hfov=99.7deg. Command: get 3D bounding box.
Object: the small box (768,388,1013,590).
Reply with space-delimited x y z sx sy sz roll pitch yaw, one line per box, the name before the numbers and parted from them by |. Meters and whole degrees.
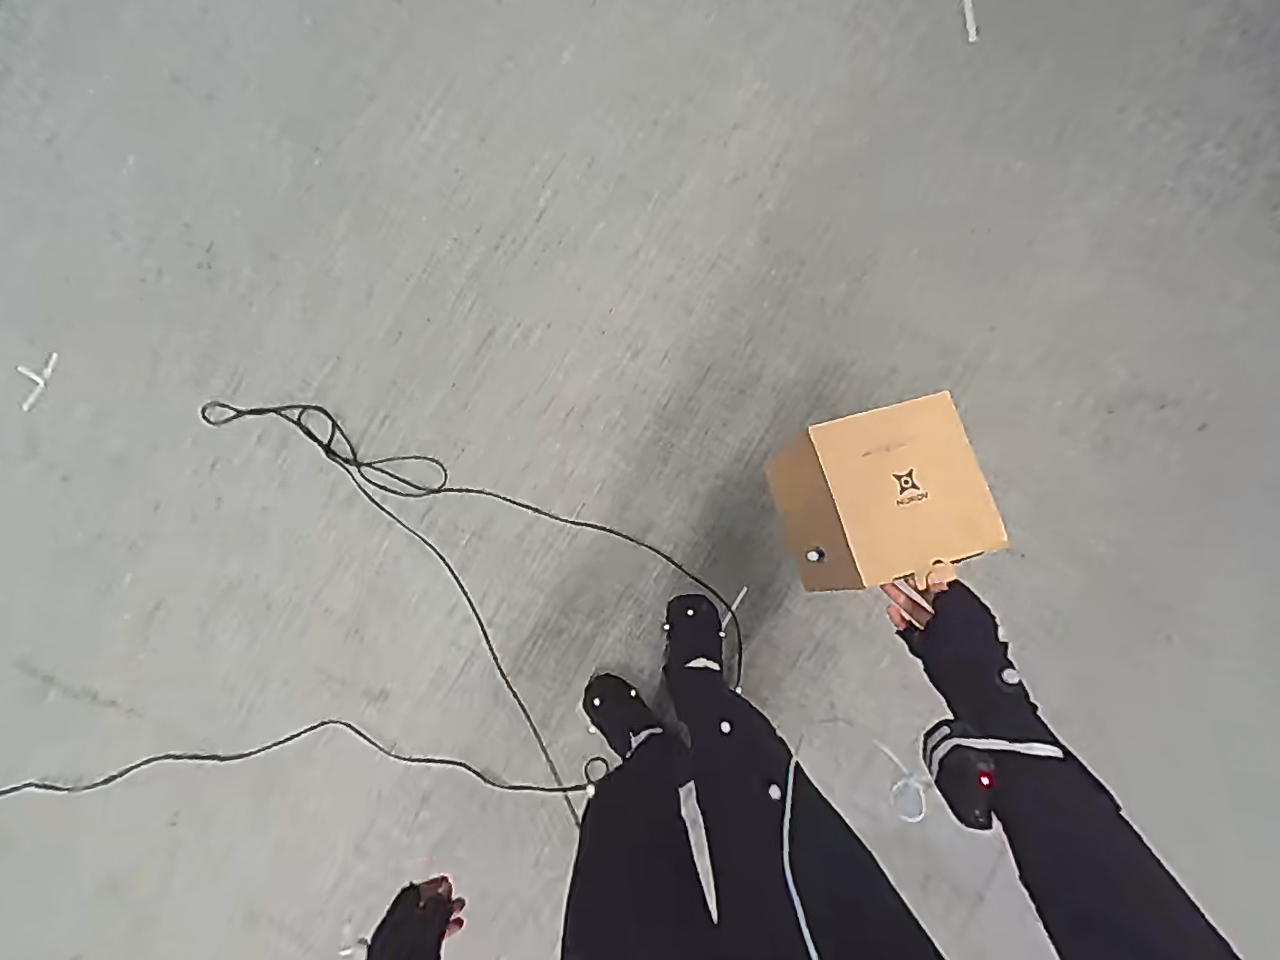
small box | 0.268 0.020 0.622 0.168 0.176 0.179 -15 79 -6
